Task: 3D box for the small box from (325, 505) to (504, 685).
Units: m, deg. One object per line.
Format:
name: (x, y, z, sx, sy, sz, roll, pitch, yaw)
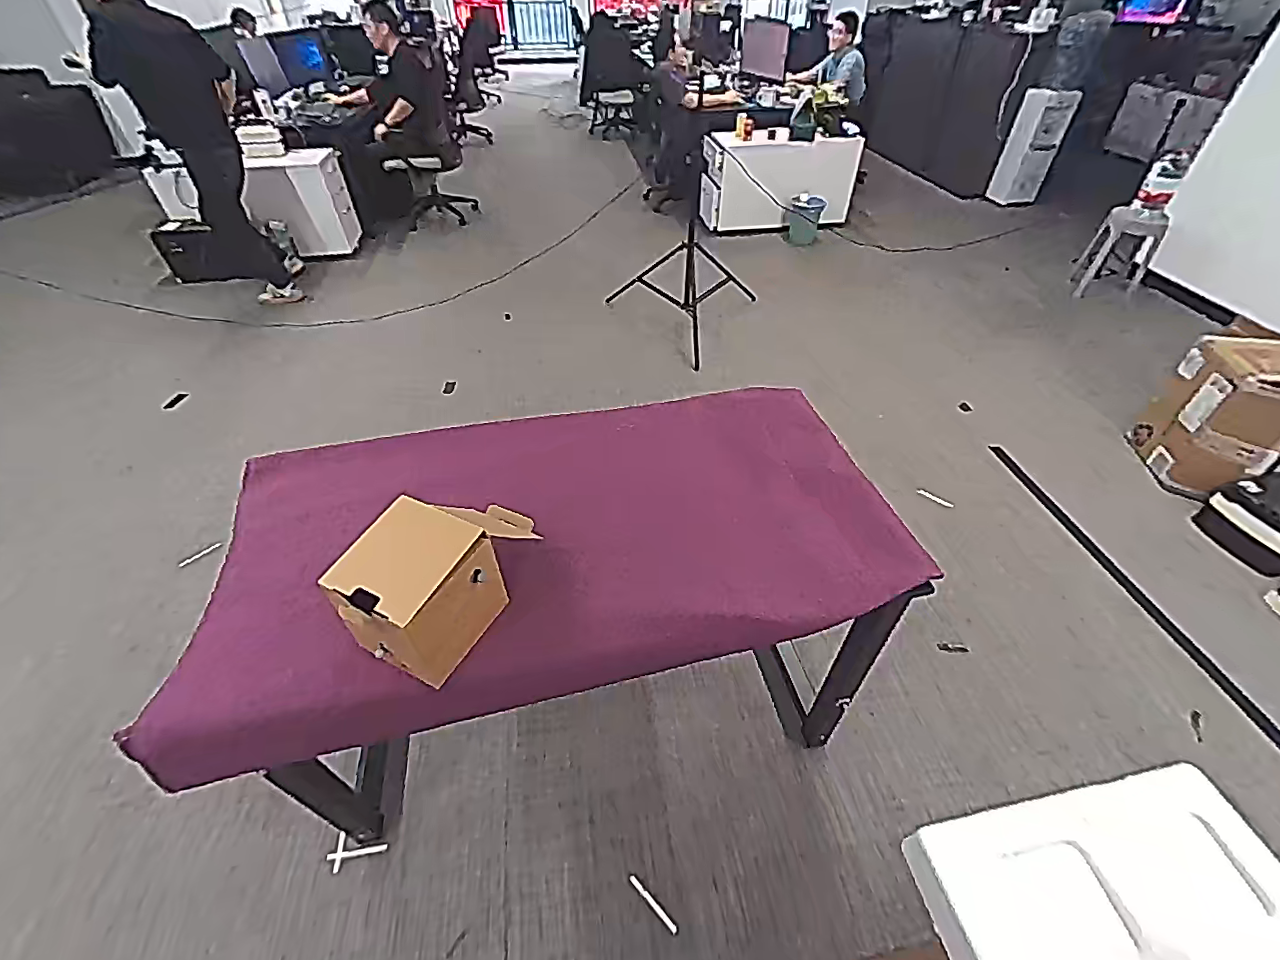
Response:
small box: (-0.329, 0.175, 0.832, 0.168, 0.176, 0.179, 18, 46, 21)
